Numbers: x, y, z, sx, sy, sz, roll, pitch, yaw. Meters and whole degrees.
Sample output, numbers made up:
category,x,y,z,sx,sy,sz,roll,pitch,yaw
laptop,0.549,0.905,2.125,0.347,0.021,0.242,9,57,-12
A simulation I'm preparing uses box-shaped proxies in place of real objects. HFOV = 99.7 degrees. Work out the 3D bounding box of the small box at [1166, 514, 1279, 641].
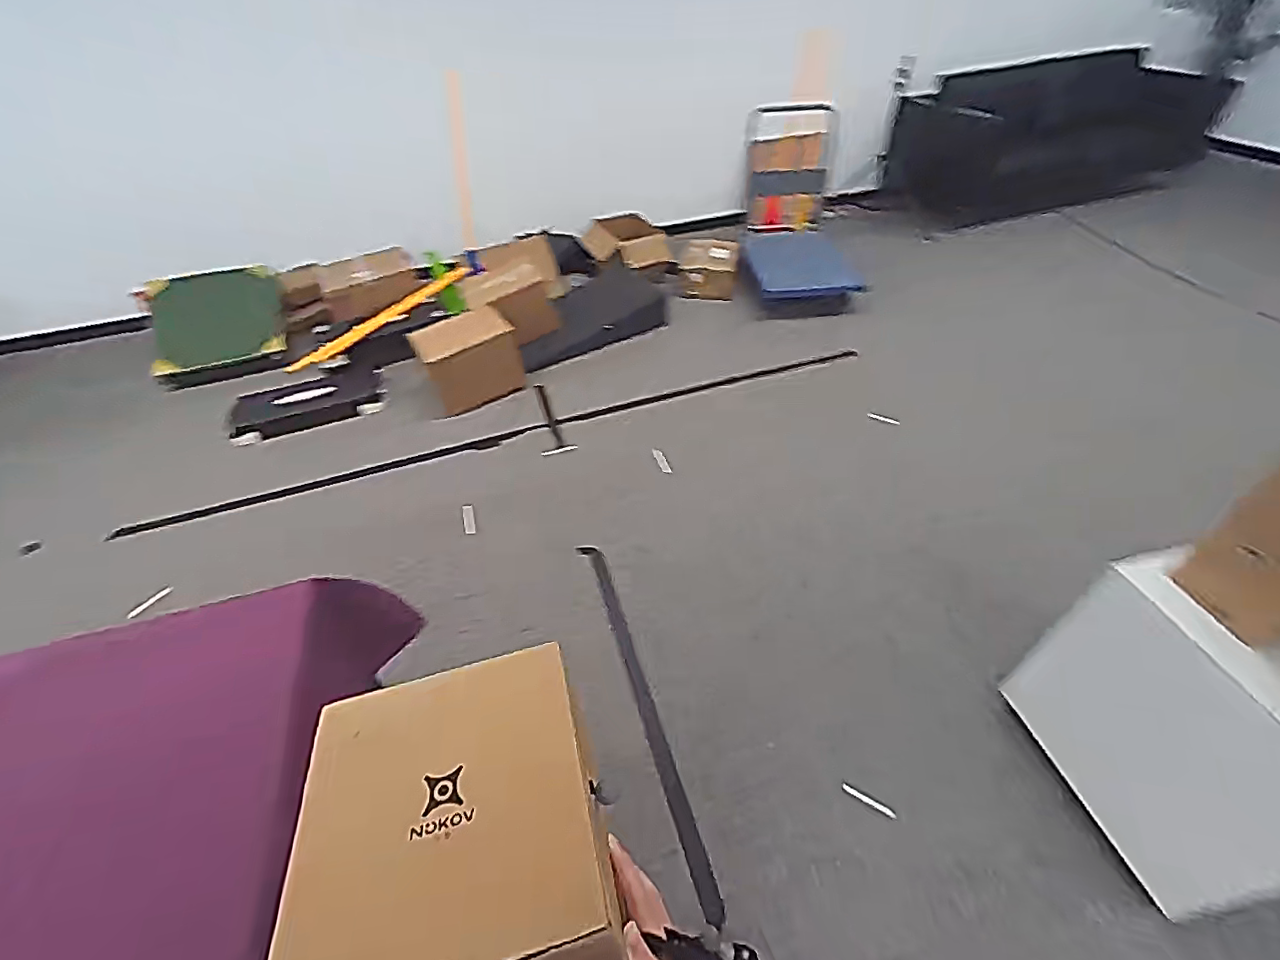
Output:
category,x,y,z,sx,sy,sz,roll,pitch,yaw
small box,1.126,0.163,0.967,0.179,0.176,0.168,-9,44,-8

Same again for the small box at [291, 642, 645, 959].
category,x,y,z,sx,sy,sz,roll,pitch,yaw
small box,-0.097,0.246,0.367,0.168,0.176,0.179,-12,39,-8
